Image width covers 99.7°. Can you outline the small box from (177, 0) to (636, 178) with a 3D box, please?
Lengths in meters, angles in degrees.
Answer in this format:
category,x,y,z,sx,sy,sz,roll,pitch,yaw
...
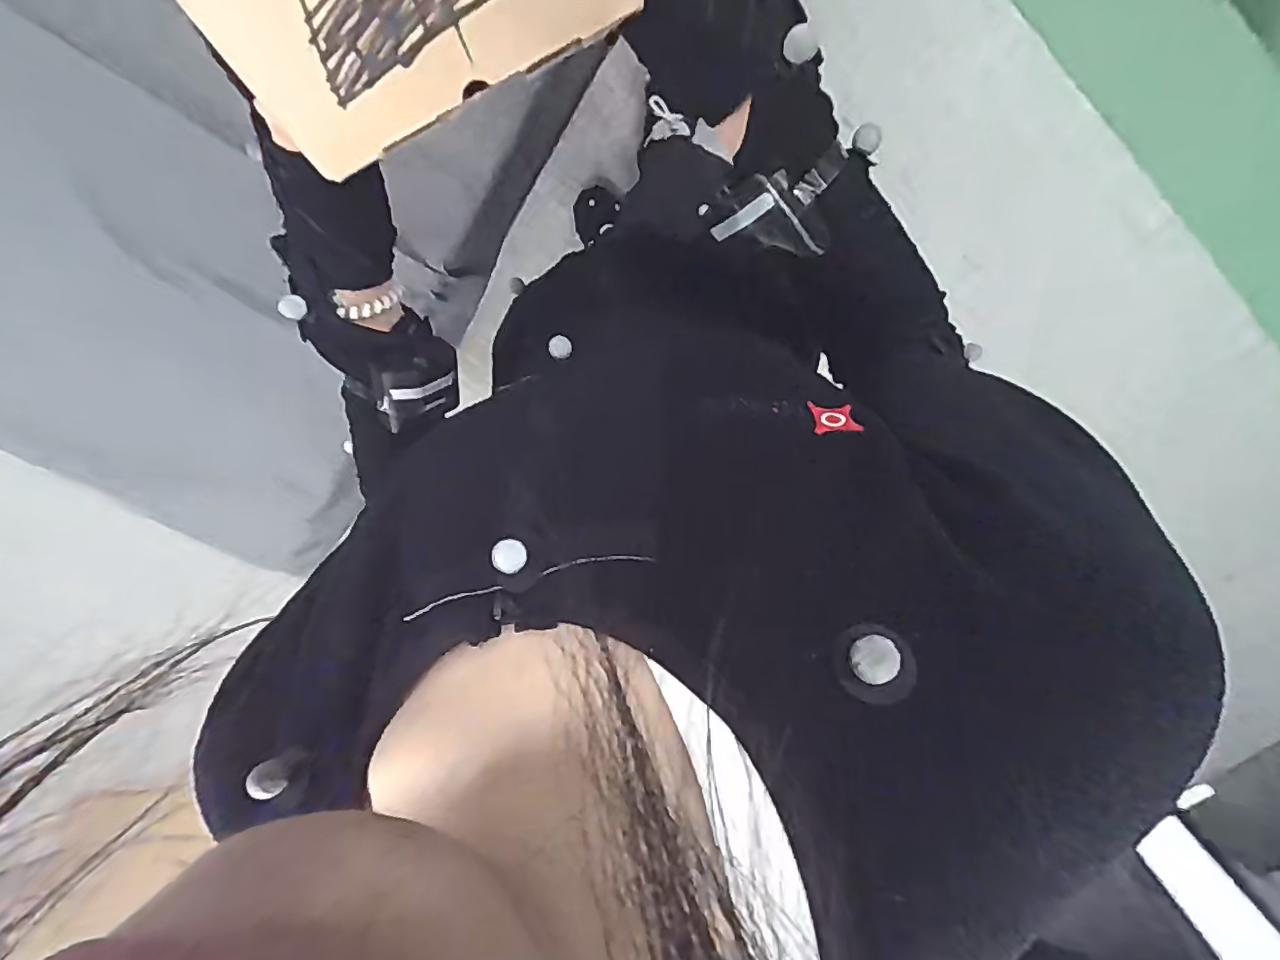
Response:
category,x,y,z,sx,sy,sz,roll,pitch,yaw
small box,-0.119,-0.277,0.227,0.168,0.176,0.179,-23,141,8
